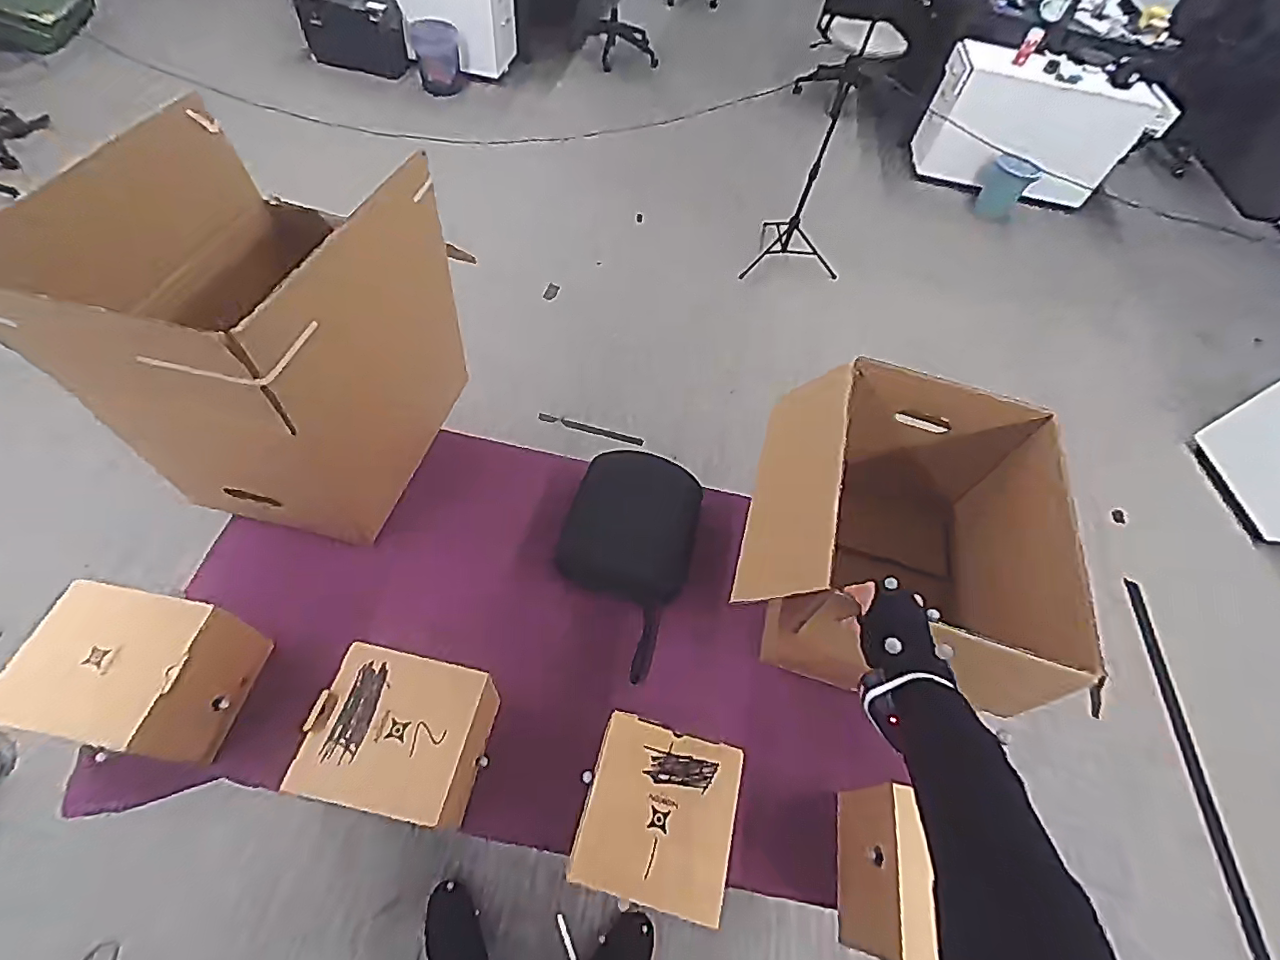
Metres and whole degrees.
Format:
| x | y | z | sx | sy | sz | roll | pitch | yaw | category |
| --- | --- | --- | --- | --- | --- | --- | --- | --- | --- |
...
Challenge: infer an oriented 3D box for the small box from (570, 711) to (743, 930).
| x | y | z | sx | sy | sz | roll | pitch | yaw | category |
| --- | --- | --- | --- | --- | --- | --- | --- | --- | --- |
| 0.015 | 0.415 | 0.674 | 0.168 | 0.176 | 0.179 | 16 | 57 | 3 | small box |

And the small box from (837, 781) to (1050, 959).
| x | y | z | sx | sy | sz | roll | pitch | yaw | category |
| --- | --- | --- | --- | --- | --- | --- | --- | --- | --- |
| 0.356 | 0.495 | 0.669 | 0.168 | 0.176 | 0.179 | 13 | 56 | 2 | small box |

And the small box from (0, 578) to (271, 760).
| x | y | z | sx | sy | sz | roll | pitch | yaw | category |
| --- | --- | --- | --- | --- | --- | --- | --- | --- | --- |
| -0.628 | 0.248 | 0.690 | 0.179 | 0.176 | 0.168 | 12 | 56 | -2 | small box |
